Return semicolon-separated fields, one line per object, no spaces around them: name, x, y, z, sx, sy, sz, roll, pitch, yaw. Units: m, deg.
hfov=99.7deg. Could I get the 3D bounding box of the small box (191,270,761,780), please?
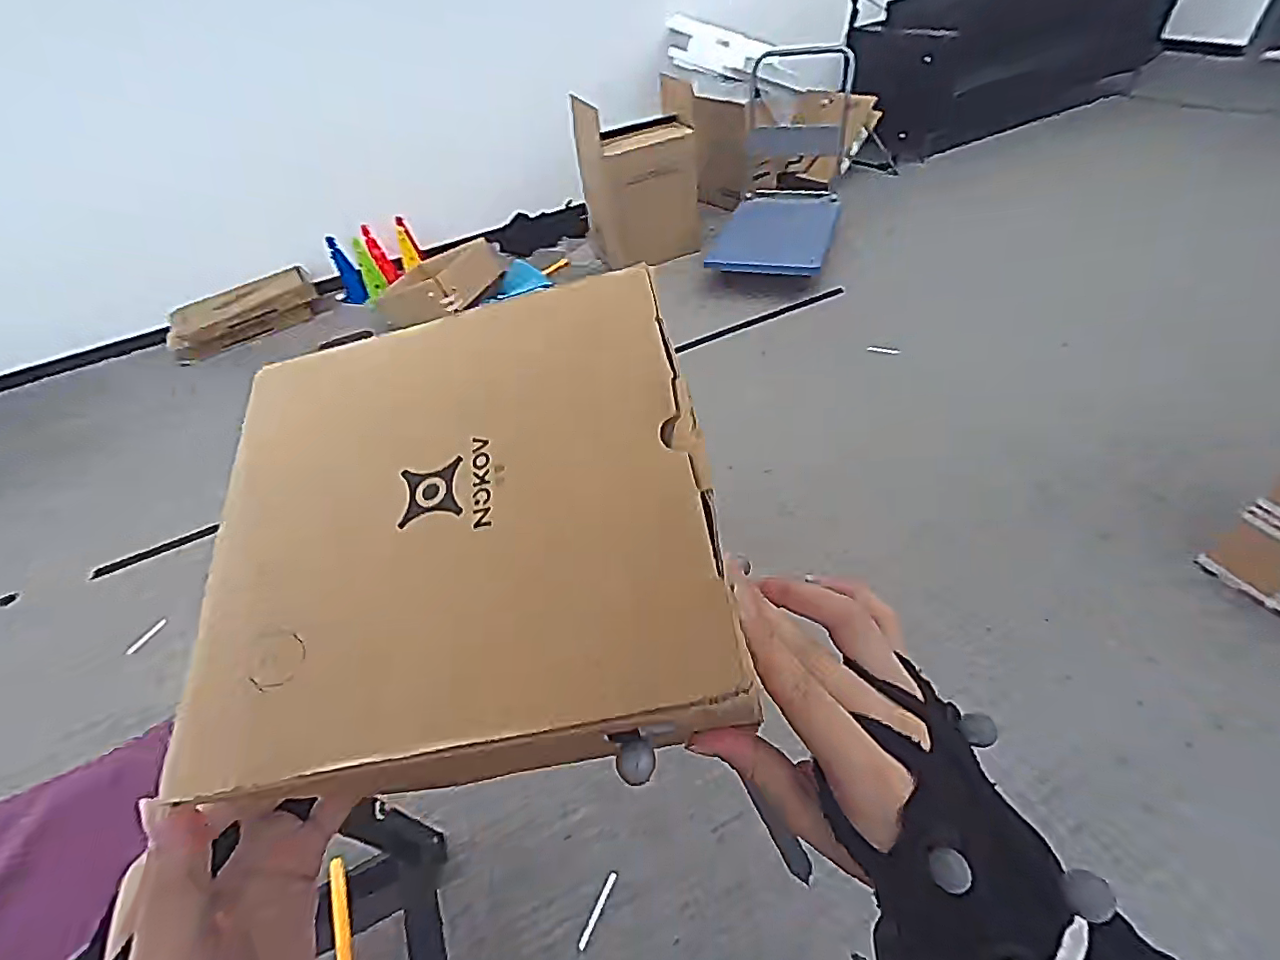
small box;-0.046;0.040;0.260;0.179;0.176;0.168;-13;61;6
